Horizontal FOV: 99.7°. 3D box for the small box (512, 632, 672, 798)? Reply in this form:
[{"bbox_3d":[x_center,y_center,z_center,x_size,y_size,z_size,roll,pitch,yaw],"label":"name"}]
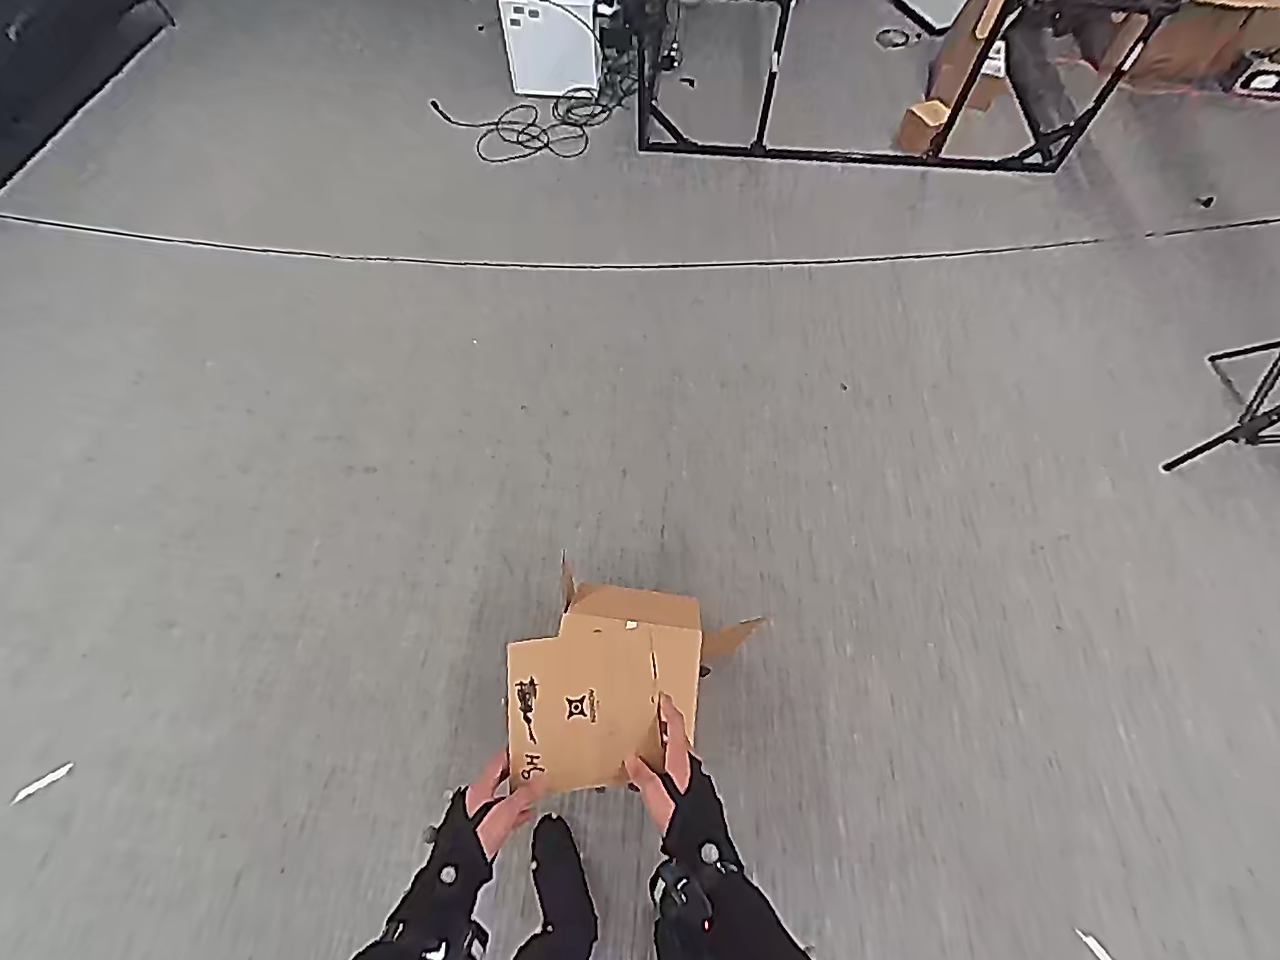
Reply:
[{"bbox_3d":[-0.059,0.292,0.687,0.179,0.176,0.168,-5,67,-2],"label":"small box"}]
